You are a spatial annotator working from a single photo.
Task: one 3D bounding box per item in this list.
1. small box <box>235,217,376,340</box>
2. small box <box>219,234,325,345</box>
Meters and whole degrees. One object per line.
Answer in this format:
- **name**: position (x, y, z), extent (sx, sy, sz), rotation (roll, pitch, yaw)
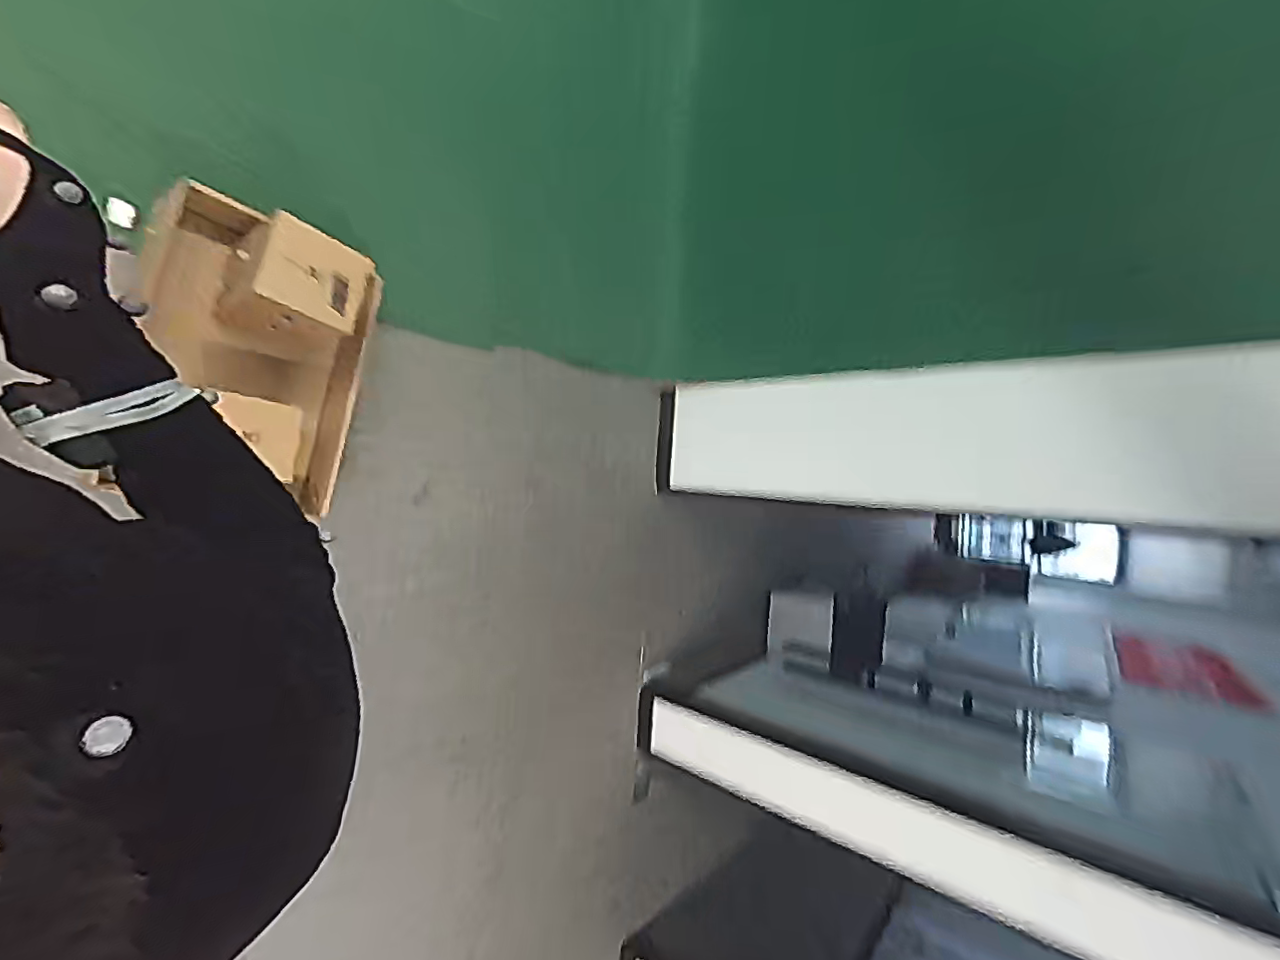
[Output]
- **small box**: position (-0.681, -0.397, 1.102), extent (0.179, 0.176, 0.168), rotation (22, 78, -48)
- **small box**: position (-0.803, -0.412, 1.210), extent (0.179, 0.176, 0.168), rotation (20, 80, -49)
